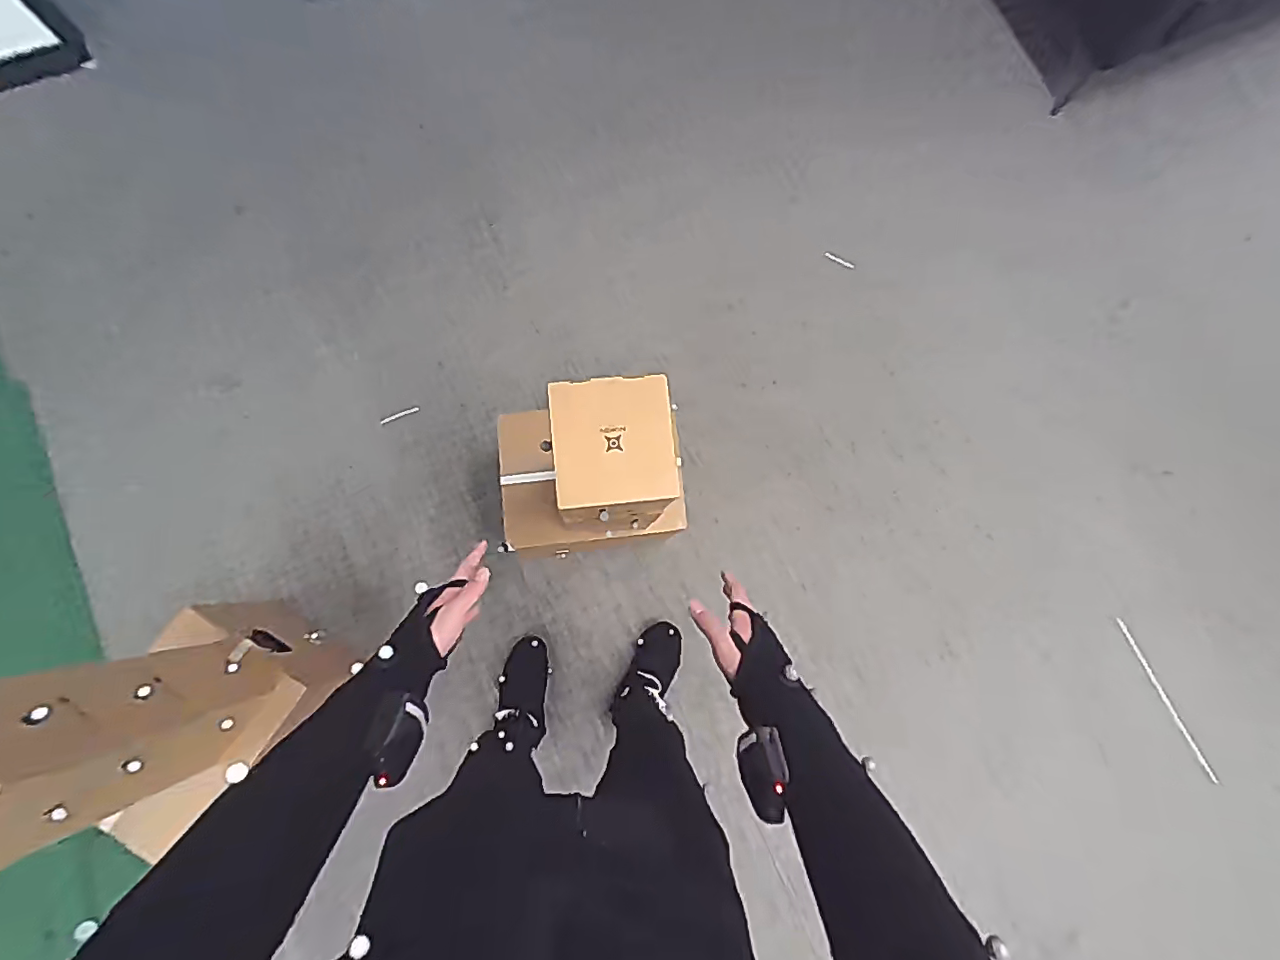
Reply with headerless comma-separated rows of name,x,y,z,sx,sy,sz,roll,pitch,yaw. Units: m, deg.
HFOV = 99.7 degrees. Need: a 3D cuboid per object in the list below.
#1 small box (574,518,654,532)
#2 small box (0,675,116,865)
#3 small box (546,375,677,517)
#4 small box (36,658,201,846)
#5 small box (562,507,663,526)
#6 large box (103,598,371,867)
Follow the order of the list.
small box,-0.064,0.010,1.121,0.168,0.176,0.179,-3,81,-4
small box,-0.820,0.367,0.668,0.168,0.176,0.179,37,78,4
small box,-0.043,-0.041,0.802,0.168,0.176,0.179,-6,80,-5
small box,-0.834,0.396,0.829,0.168,0.176,0.179,37,79,4
small box,-0.055,-0.012,0.960,0.168,0.176,0.179,-5,80,-5
large box,-0.908,0.521,1.219,0.320,0.320,0.408,32,80,4
